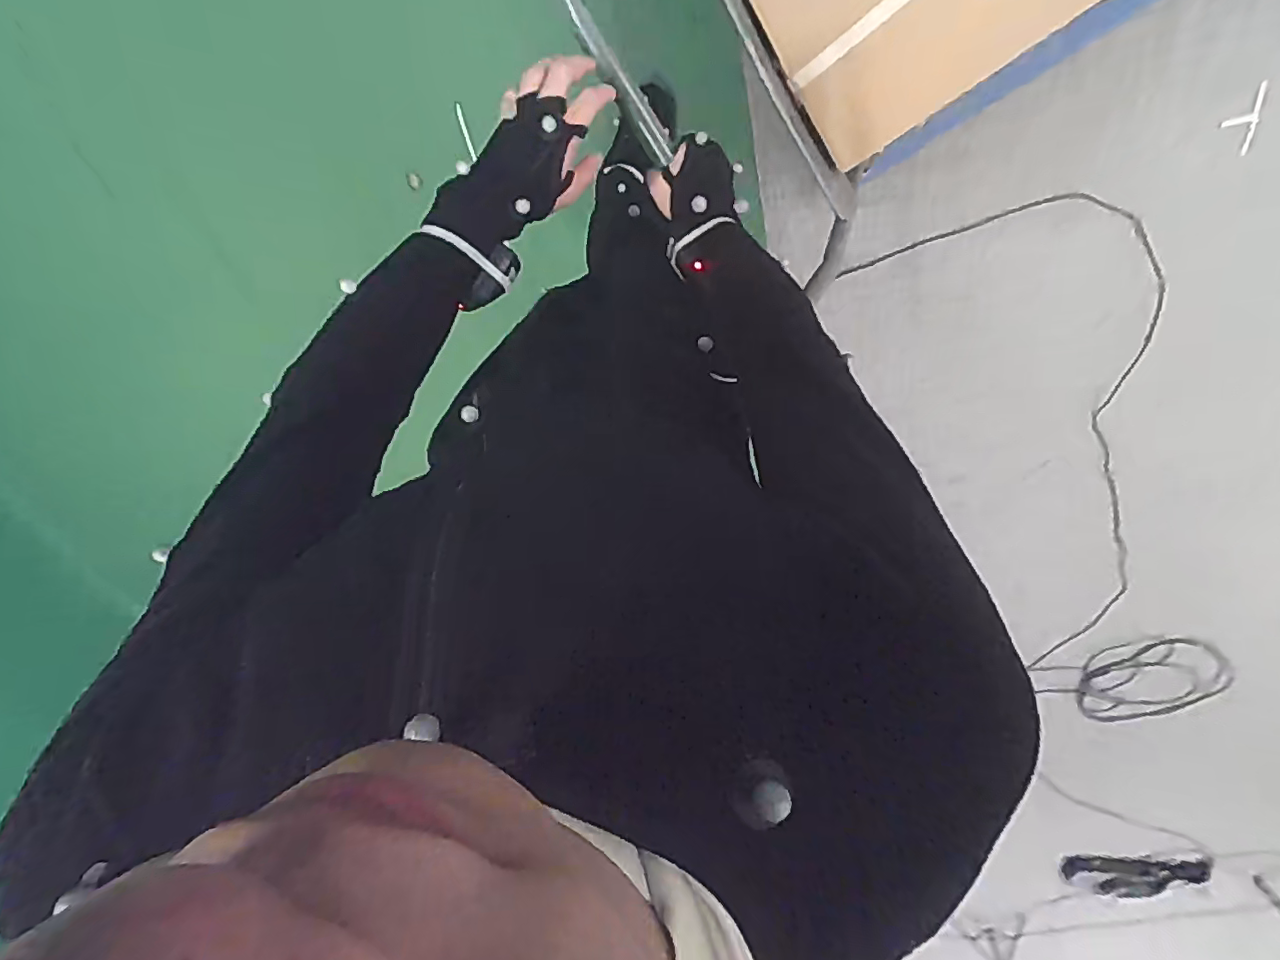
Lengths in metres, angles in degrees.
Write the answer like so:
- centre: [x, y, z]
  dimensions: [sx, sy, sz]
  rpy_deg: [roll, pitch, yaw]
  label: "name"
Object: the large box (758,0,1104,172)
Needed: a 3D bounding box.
- centre: [0.432, -0.757, 0.801]
  dimensions: [0.408, 0.320, 0.320]
  rpy_deg: [-22, 120, 37]
  label: "large box"
